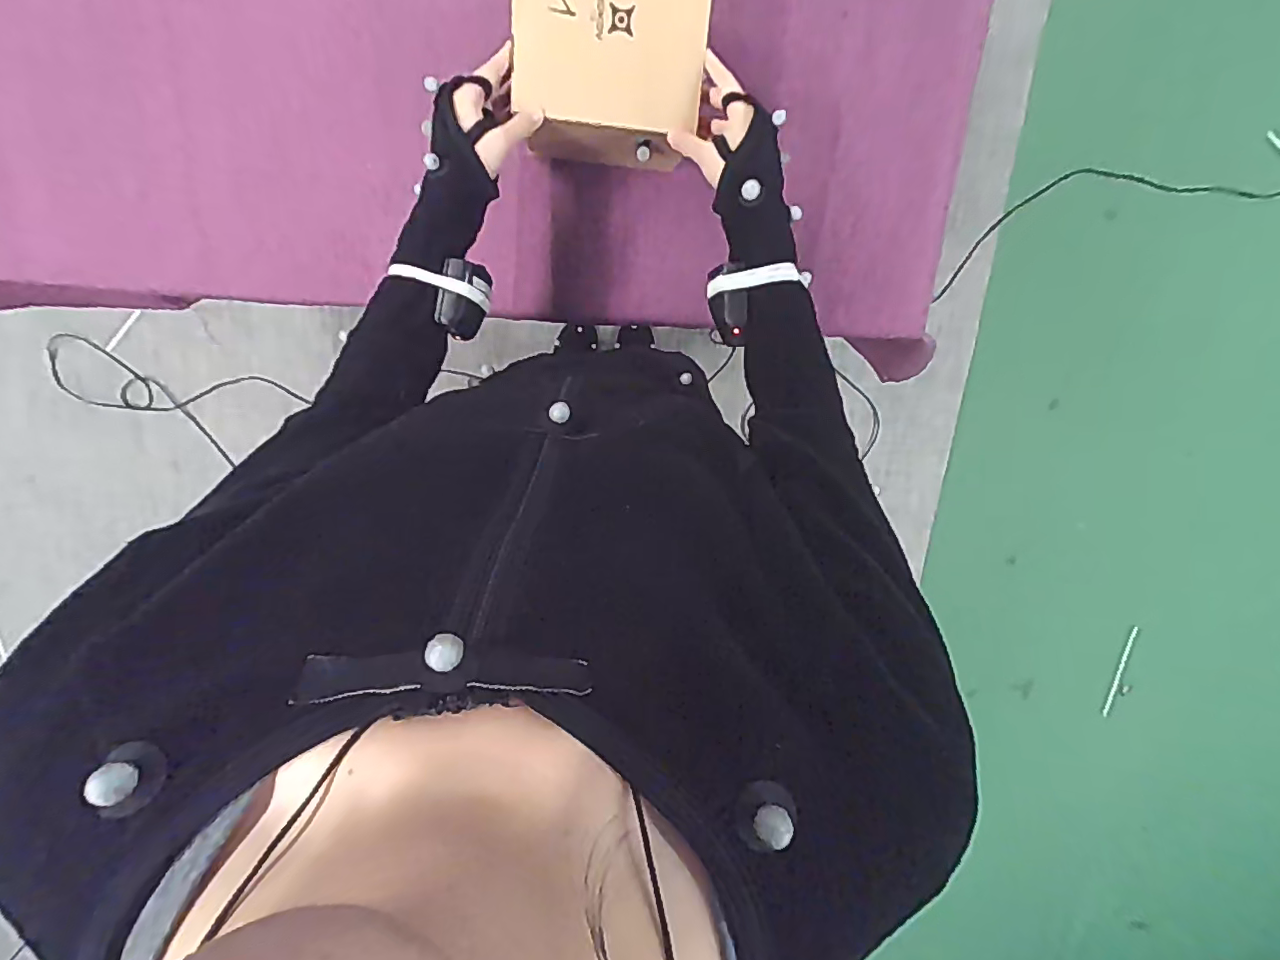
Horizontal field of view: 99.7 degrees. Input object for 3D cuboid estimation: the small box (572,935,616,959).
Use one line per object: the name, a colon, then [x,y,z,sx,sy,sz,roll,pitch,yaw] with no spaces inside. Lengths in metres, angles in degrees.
small box: [-0.176,1.858,2.023,0.168,0.176,0.179,2,106,-4]
